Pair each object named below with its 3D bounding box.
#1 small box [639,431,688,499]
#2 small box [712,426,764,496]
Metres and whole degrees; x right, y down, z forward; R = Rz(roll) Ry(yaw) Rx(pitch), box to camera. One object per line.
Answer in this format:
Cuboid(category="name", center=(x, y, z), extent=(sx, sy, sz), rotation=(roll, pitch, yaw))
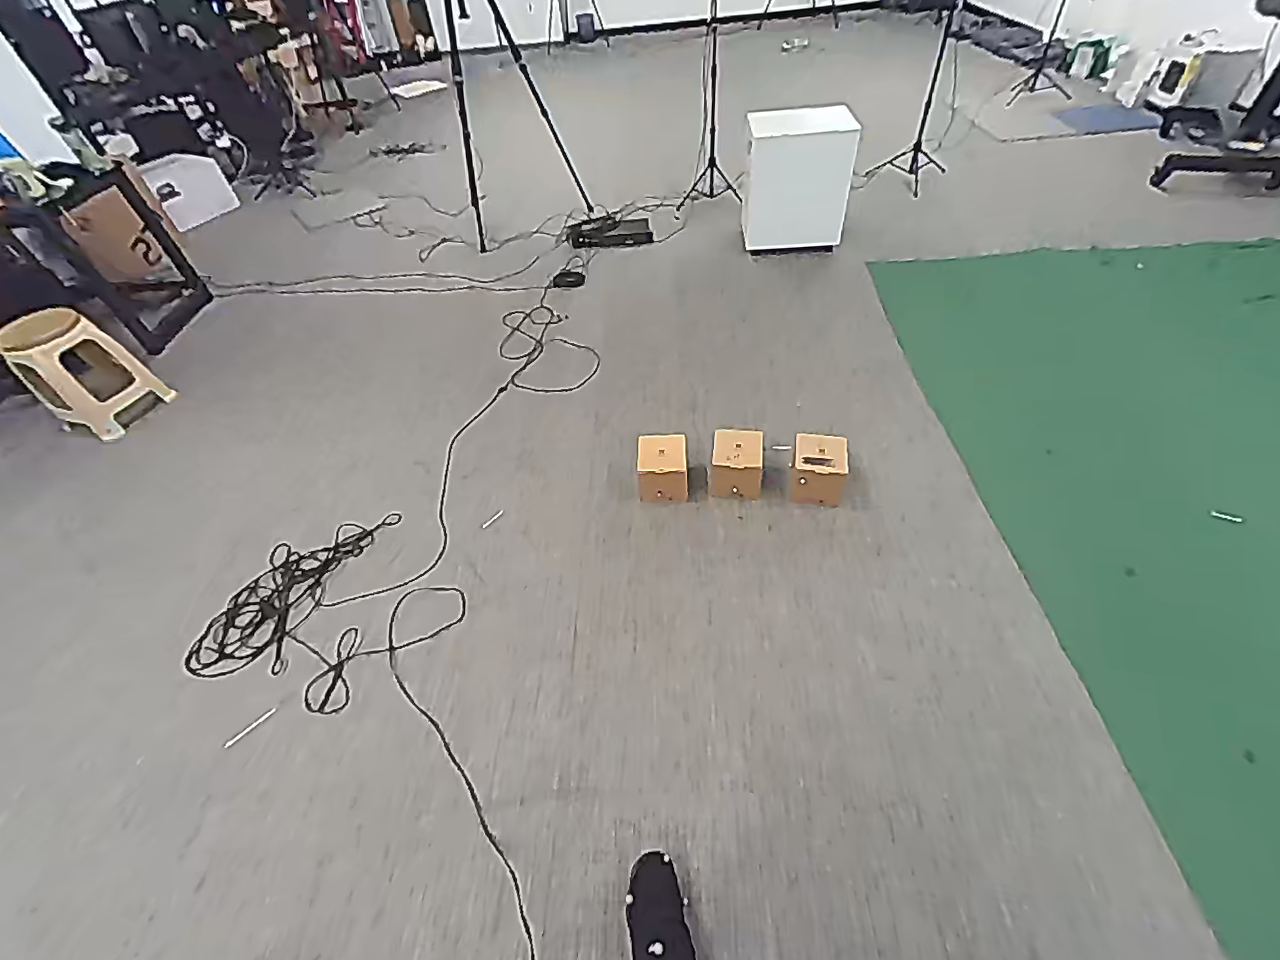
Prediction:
Cuboid(category="small box", center=(0.085, -0.053, 1.904), extent=(0.168, 0.176, 0.179), rotation=(-2, 49, 5))
Cuboid(category="small box", center=(0.341, -0.067, 1.888), extent=(0.168, 0.176, 0.179), rotation=(4, 50, 10))
